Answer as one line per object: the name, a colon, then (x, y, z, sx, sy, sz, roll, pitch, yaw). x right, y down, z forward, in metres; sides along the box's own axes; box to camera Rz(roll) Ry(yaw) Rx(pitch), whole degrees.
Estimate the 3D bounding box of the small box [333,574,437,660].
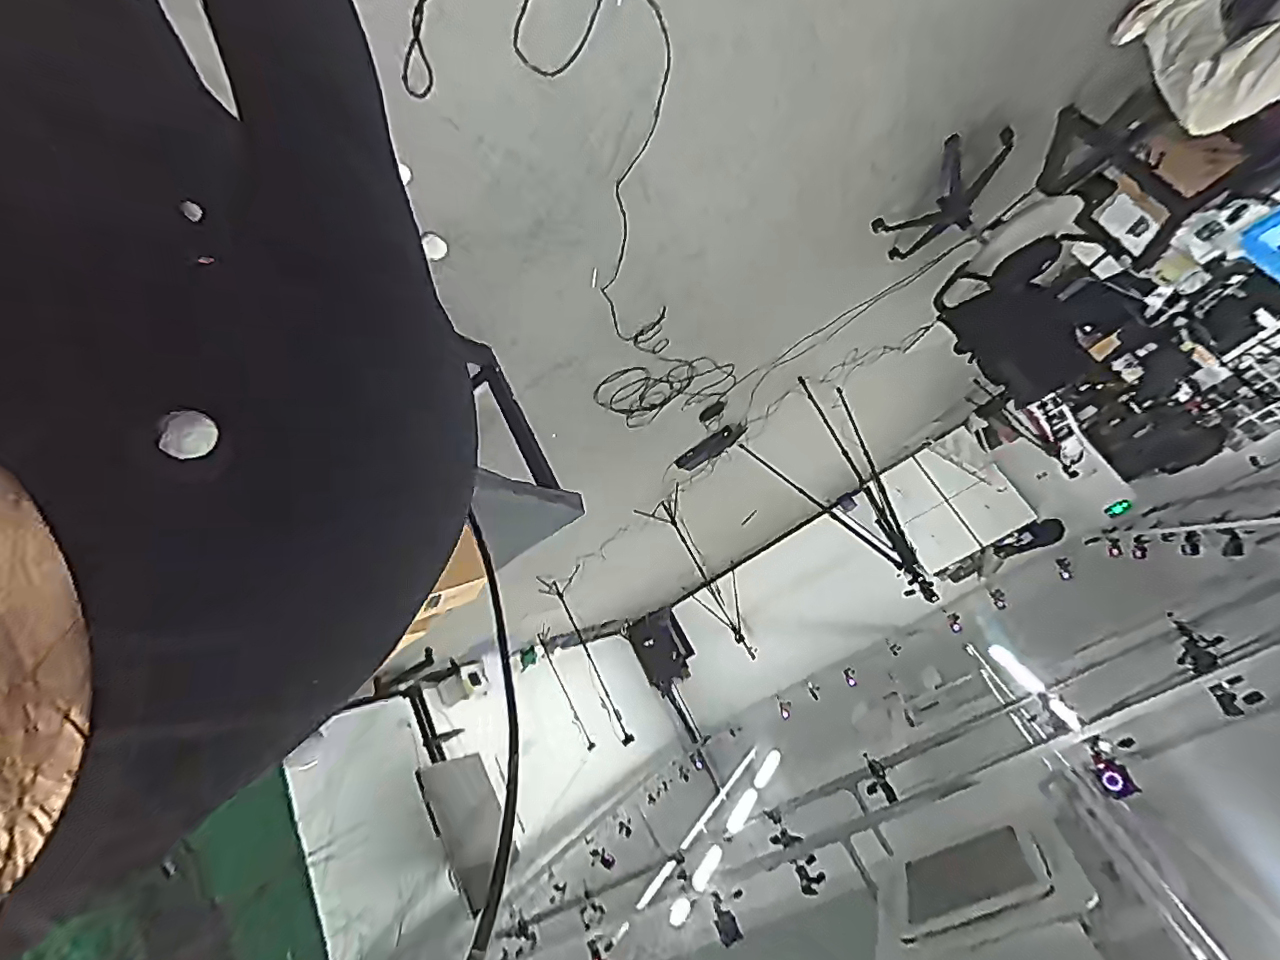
small box: (-0.708, 0.373, 1.501, 0.168, 0.176, 0.179, -35, 160, 14)
